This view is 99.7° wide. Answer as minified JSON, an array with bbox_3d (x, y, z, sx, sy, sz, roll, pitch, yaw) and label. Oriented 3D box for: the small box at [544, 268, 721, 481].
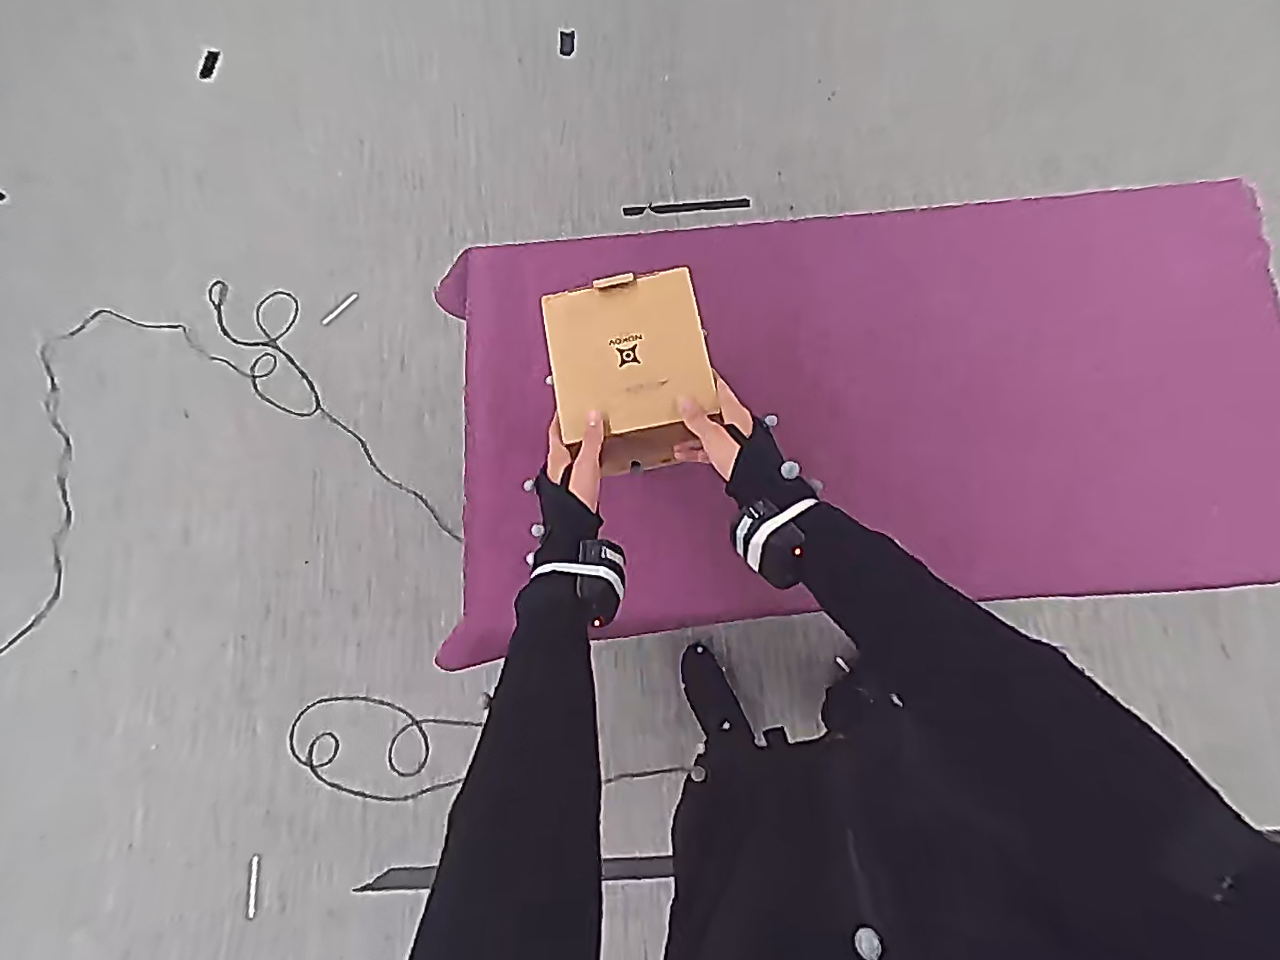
[{"bbox_3d":[-0.007,-0.113,0.636,0.168,0.176,0.179,-10,76,2],"label":"small box"}]
